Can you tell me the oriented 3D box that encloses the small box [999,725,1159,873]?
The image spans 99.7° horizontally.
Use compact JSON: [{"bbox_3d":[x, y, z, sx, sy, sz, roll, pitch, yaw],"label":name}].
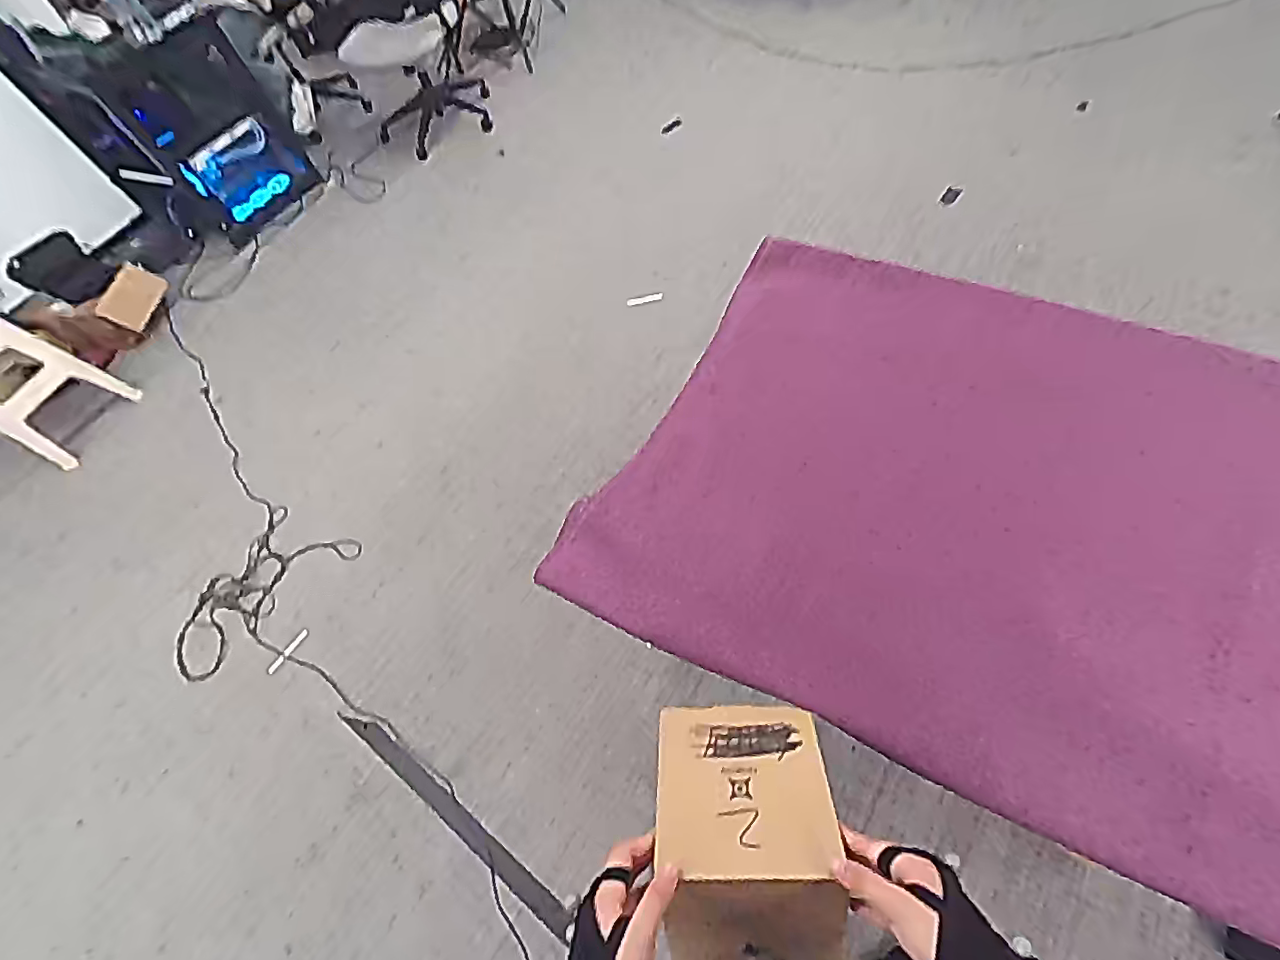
[{"bbox_3d":[0.830,0.609,1.043,0.168,0.176,0.179,30,69,24],"label":"small box"}]
